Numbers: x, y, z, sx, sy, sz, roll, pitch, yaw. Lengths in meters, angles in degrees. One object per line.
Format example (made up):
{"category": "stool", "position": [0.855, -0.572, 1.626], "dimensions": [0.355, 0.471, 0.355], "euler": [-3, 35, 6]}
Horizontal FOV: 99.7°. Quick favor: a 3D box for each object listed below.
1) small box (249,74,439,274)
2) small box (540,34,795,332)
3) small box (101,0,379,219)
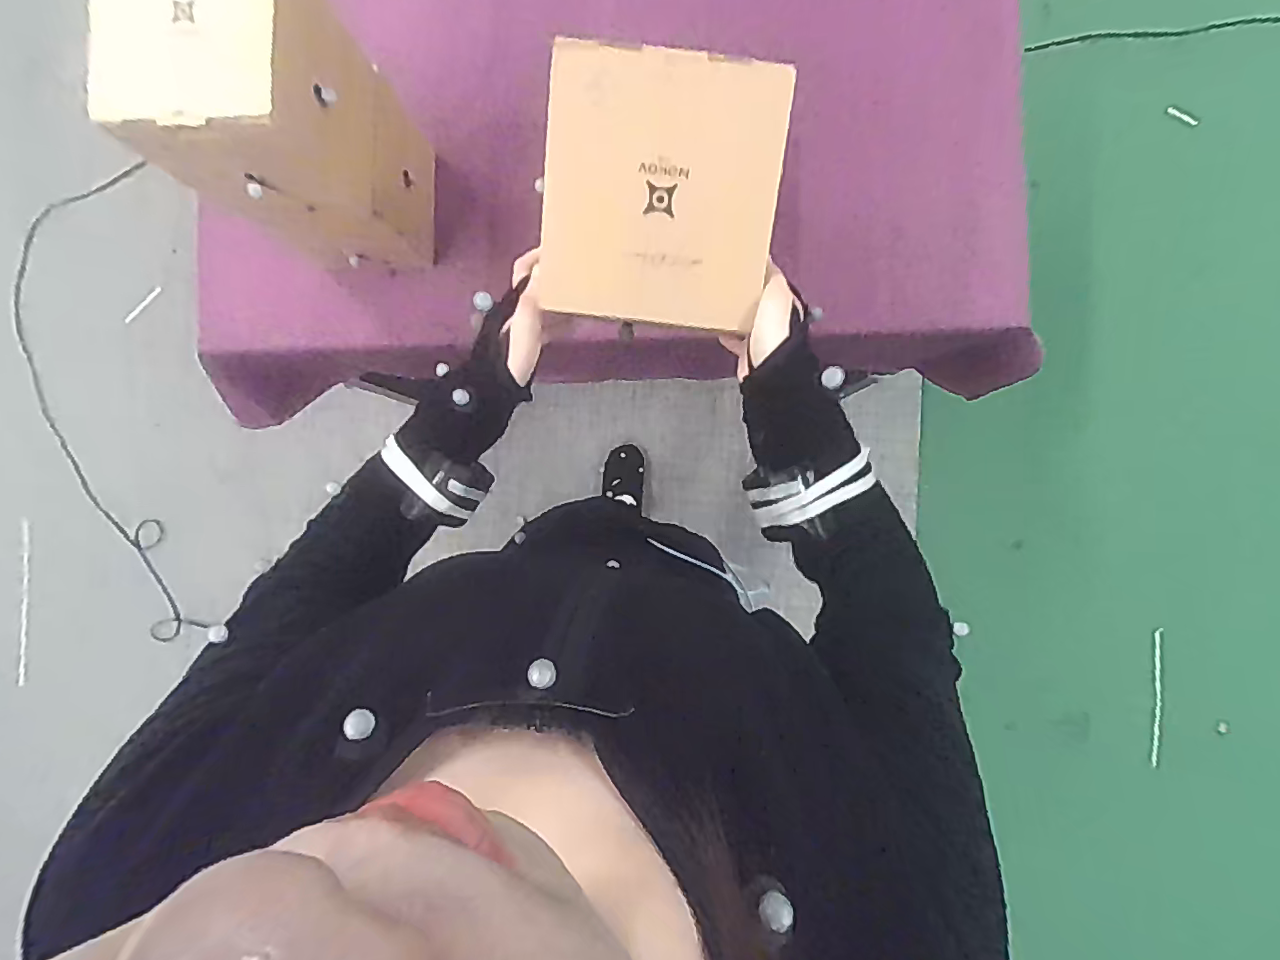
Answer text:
{"category": "small box", "position": [-0.380, -0.395, 0.719], "dimensions": [0.168, 0.176, 0.179], "euler": [1, 90, 2]}
{"category": "small box", "position": [0.016, -0.226, 0.462], "dimensions": [0.168, 0.176, 0.179], "euler": [7, 105, -1]}
{"category": "small box", "position": [-0.388, -0.390, 0.555], "dimensions": [0.168, 0.176, 0.179], "euler": [1, 90, 1]}
